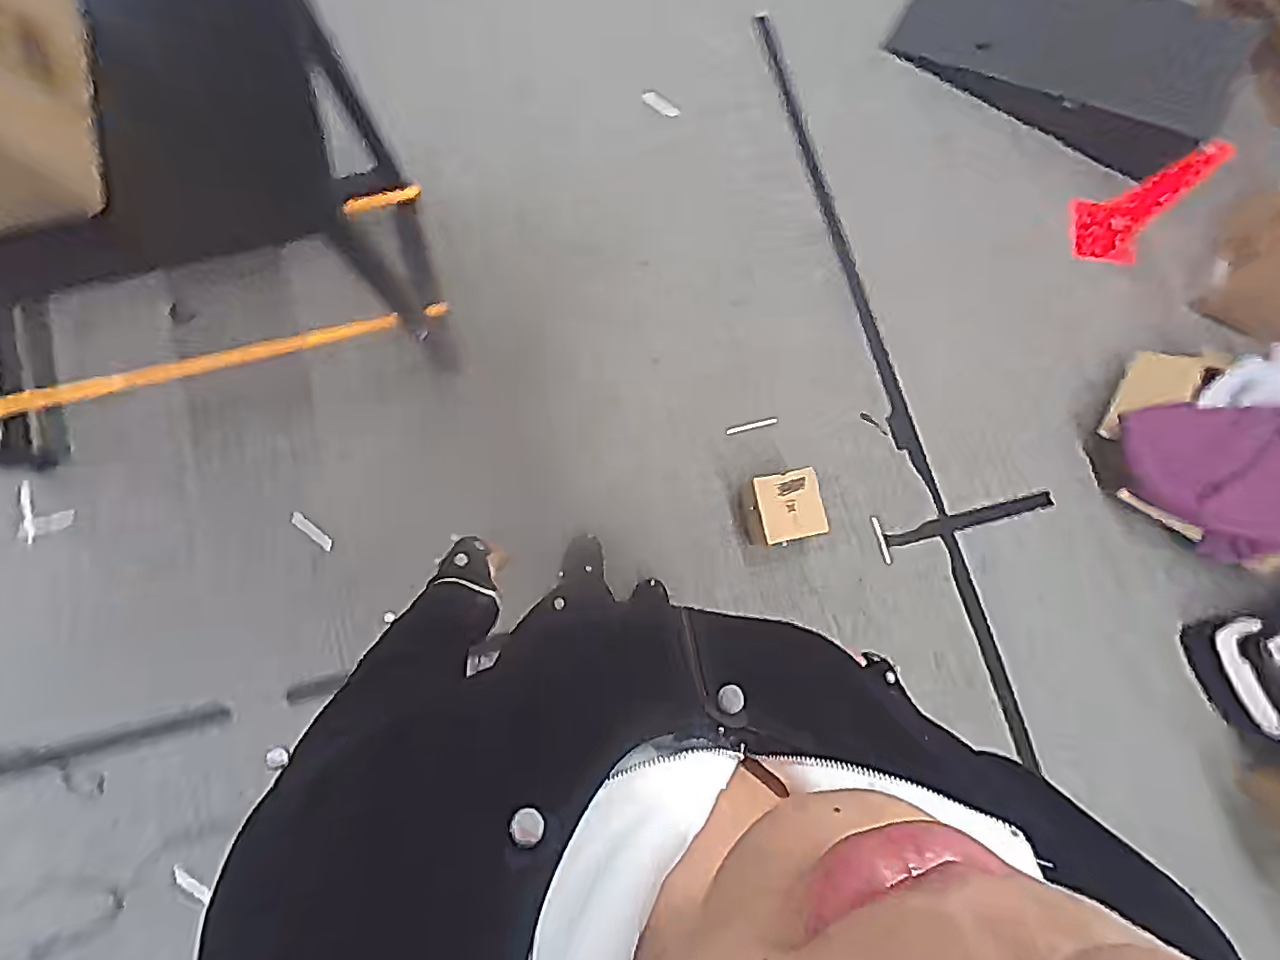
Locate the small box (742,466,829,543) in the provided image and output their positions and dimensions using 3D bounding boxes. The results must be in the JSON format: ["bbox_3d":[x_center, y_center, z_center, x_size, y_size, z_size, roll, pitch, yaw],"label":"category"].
[{"bbox_3d":[0.387,0.072,1.467,0.168,0.176,0.179,-11,83,-4],"label":"small box"}]
